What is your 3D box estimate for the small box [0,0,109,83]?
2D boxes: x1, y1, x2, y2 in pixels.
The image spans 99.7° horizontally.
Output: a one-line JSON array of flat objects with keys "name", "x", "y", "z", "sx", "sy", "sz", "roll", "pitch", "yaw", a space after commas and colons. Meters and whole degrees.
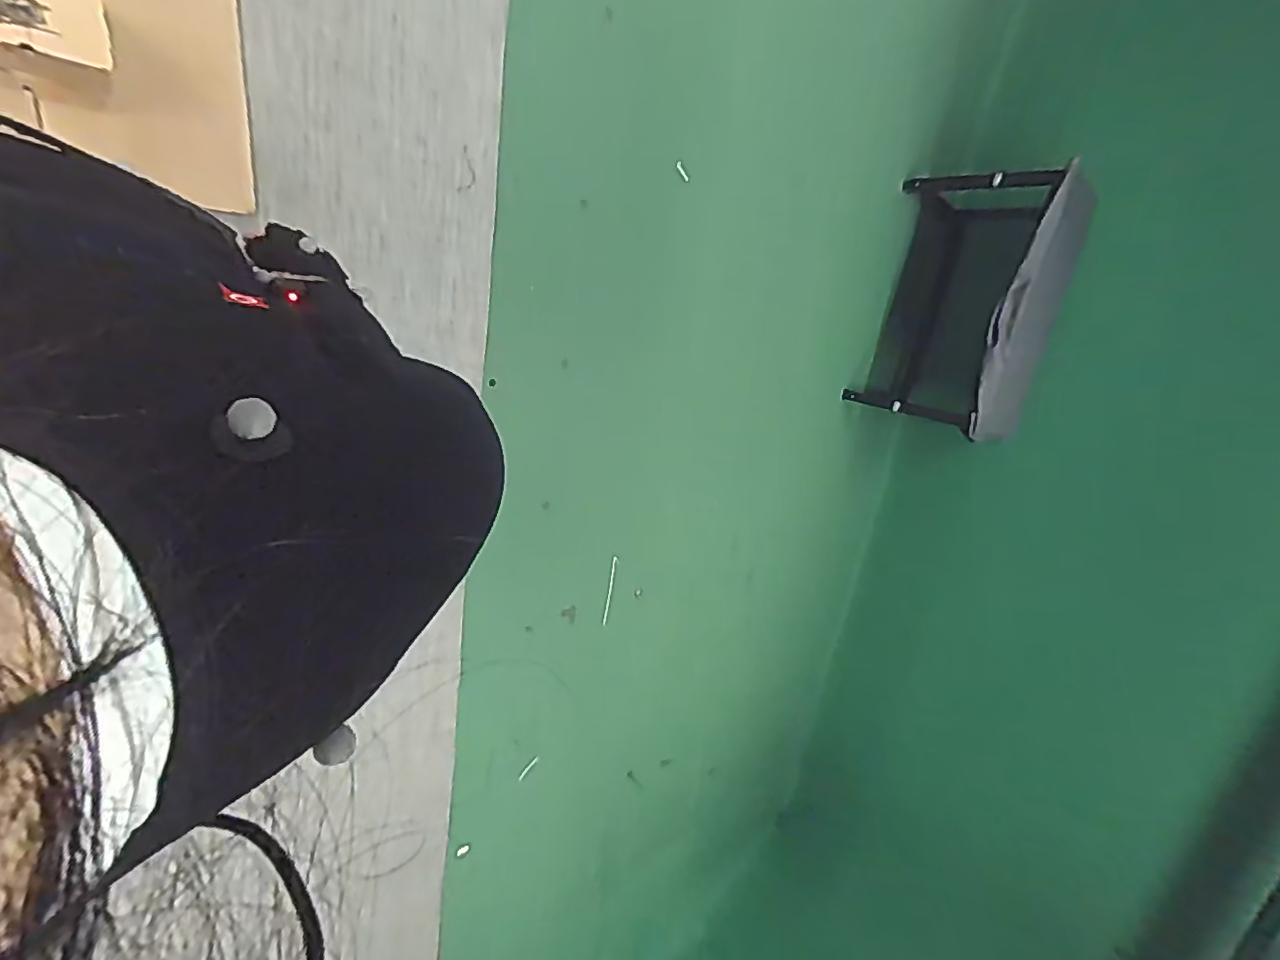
[{"name": "small box", "x": -0.831, "y": -0.660, "z": 0.715, "sx": 0.168, "sy": 0.176, "sz": 0.179, "roll": -12, "pitch": 116, "yaw": -42}]

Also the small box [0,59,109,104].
[{"name": "small box", "x": -0.944, "y": -0.709, "z": 0.825, "sx": 0.168, "sy": 0.176, "sz": 0.179, "roll": -11, "pitch": 116, "yaw": -42}]
